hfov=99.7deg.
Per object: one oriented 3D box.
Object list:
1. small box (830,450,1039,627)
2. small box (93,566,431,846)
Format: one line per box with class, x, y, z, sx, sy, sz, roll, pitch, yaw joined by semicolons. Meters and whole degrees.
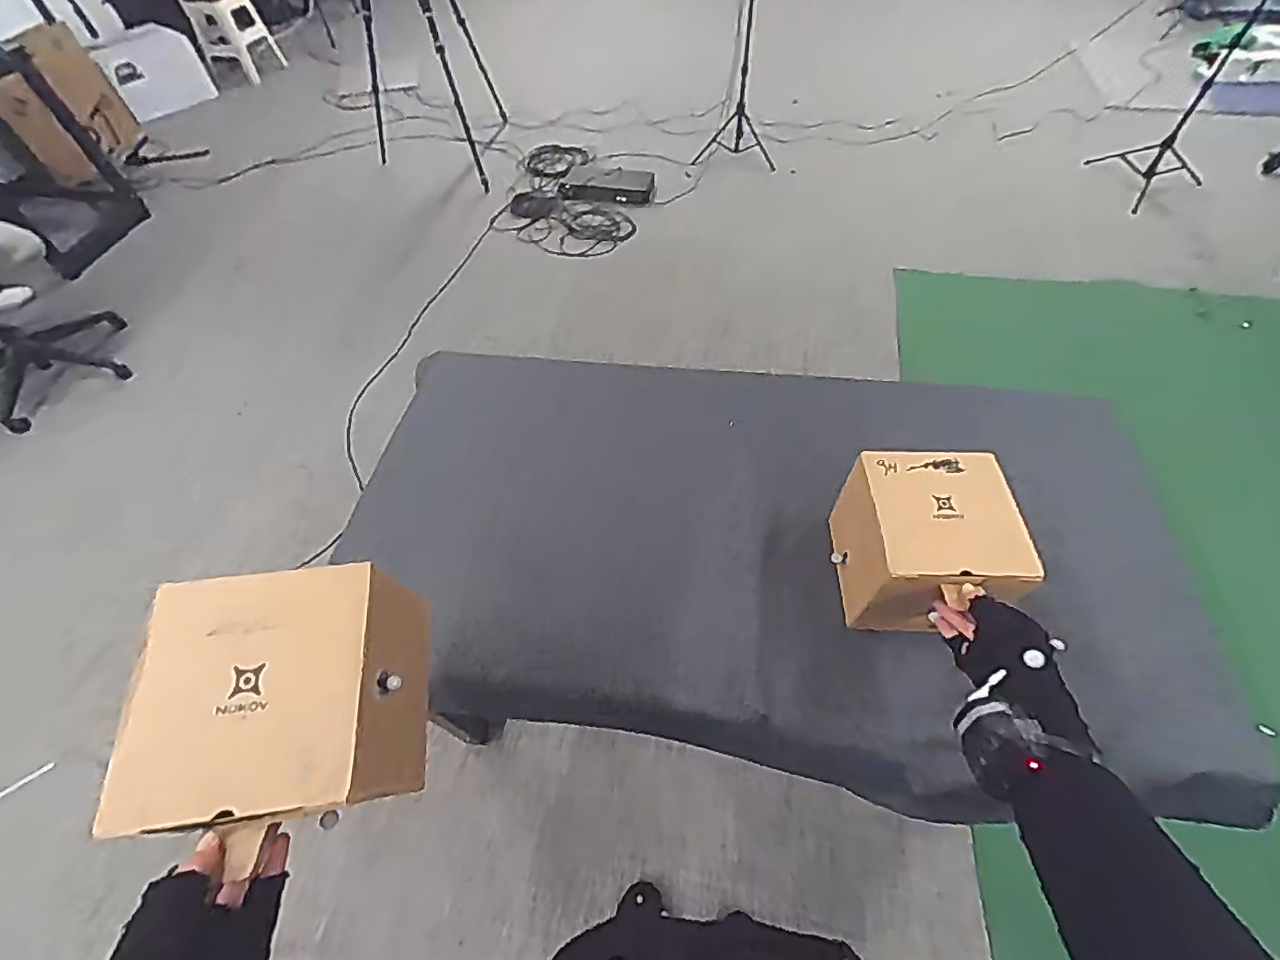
small box;0.358;0.081;0.699;0.168;0.176;0.179;2;56;3
small box;-0.289;0.189;0.466;0.168;0.176;0.179;-5;63;-6
